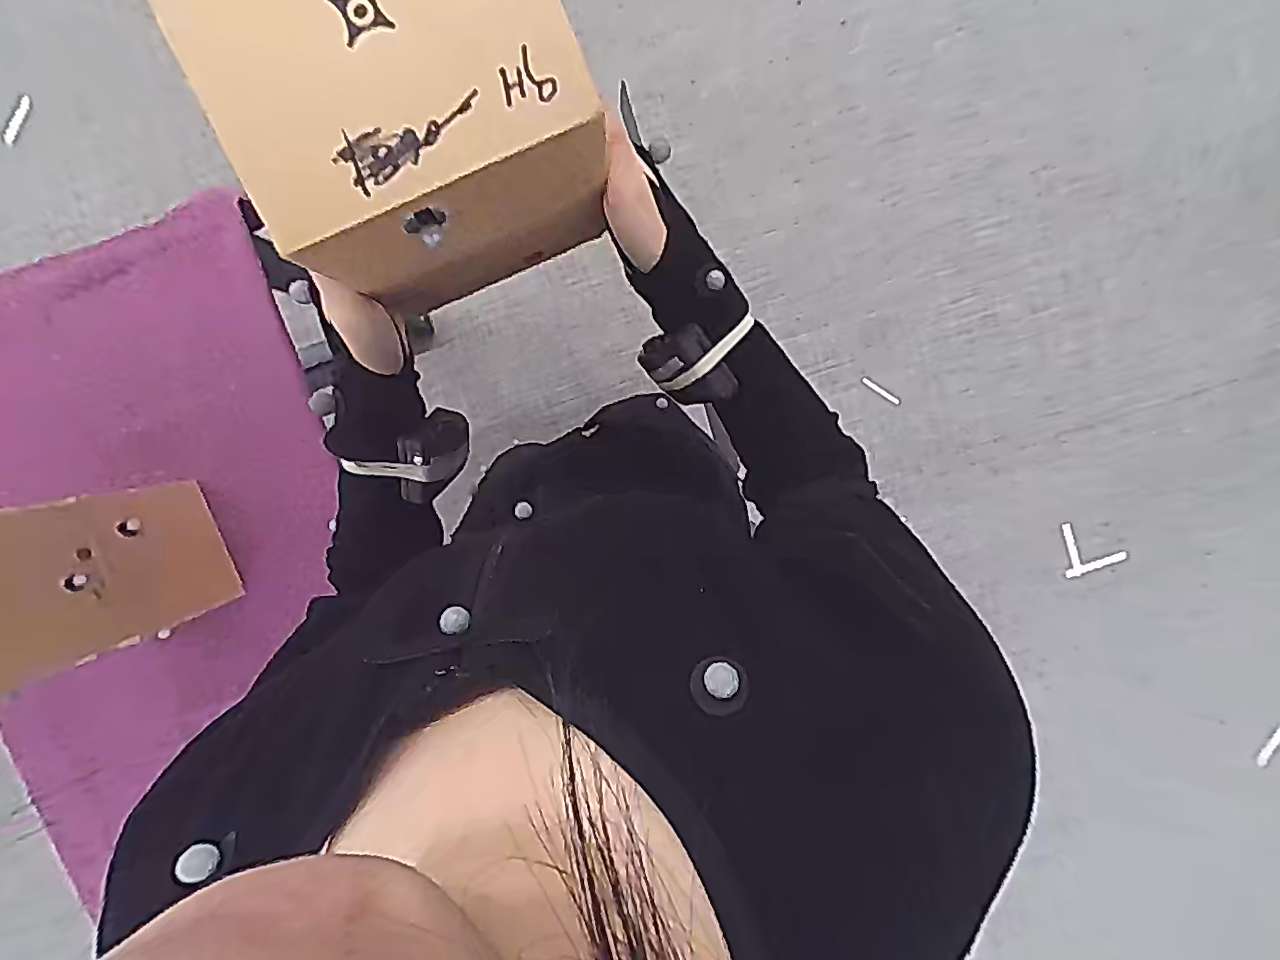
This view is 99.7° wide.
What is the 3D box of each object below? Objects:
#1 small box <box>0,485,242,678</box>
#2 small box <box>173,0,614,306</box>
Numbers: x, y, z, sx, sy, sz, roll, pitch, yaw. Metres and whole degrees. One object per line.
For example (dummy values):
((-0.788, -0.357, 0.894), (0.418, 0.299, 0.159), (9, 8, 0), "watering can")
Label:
((-0.666, 0.112, 0.686), (0.168, 0.176, 0.179), (-19, 97, 3), "small box")
((-0.123, -0.227, 0.317), (0.168, 0.176, 0.179), (-23, 97, 1), "small box")
